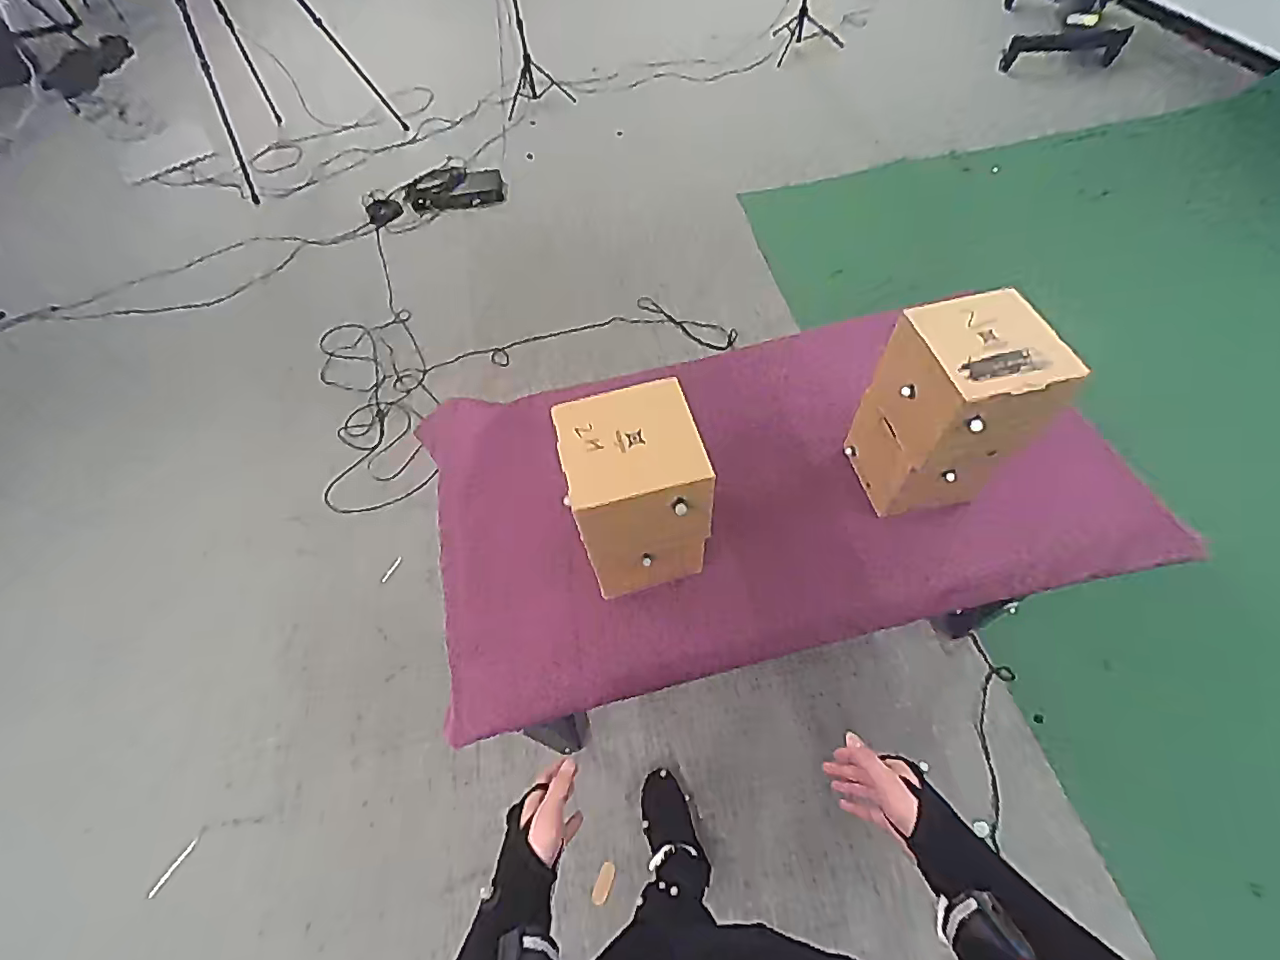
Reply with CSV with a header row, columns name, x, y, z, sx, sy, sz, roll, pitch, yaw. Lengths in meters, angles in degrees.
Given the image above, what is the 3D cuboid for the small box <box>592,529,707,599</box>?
name,x,y,z,sx,sy,sz,roll,pitch,yaw
small box,0.000,0.076,0.888,0.179,0.176,0.168,-16,58,-4

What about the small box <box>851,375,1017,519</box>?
name,x,y,z,sx,sy,sz,roll,pitch,yaw
small box,0.481,-0.050,0.925,0.179,0.176,0.168,-11,57,-3

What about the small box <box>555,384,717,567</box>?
name,x,y,z,sx,sy,sz,roll,pitch,yaw
small box,-0.005,-0.001,0.741,0.179,0.176,0.168,-14,57,-4
